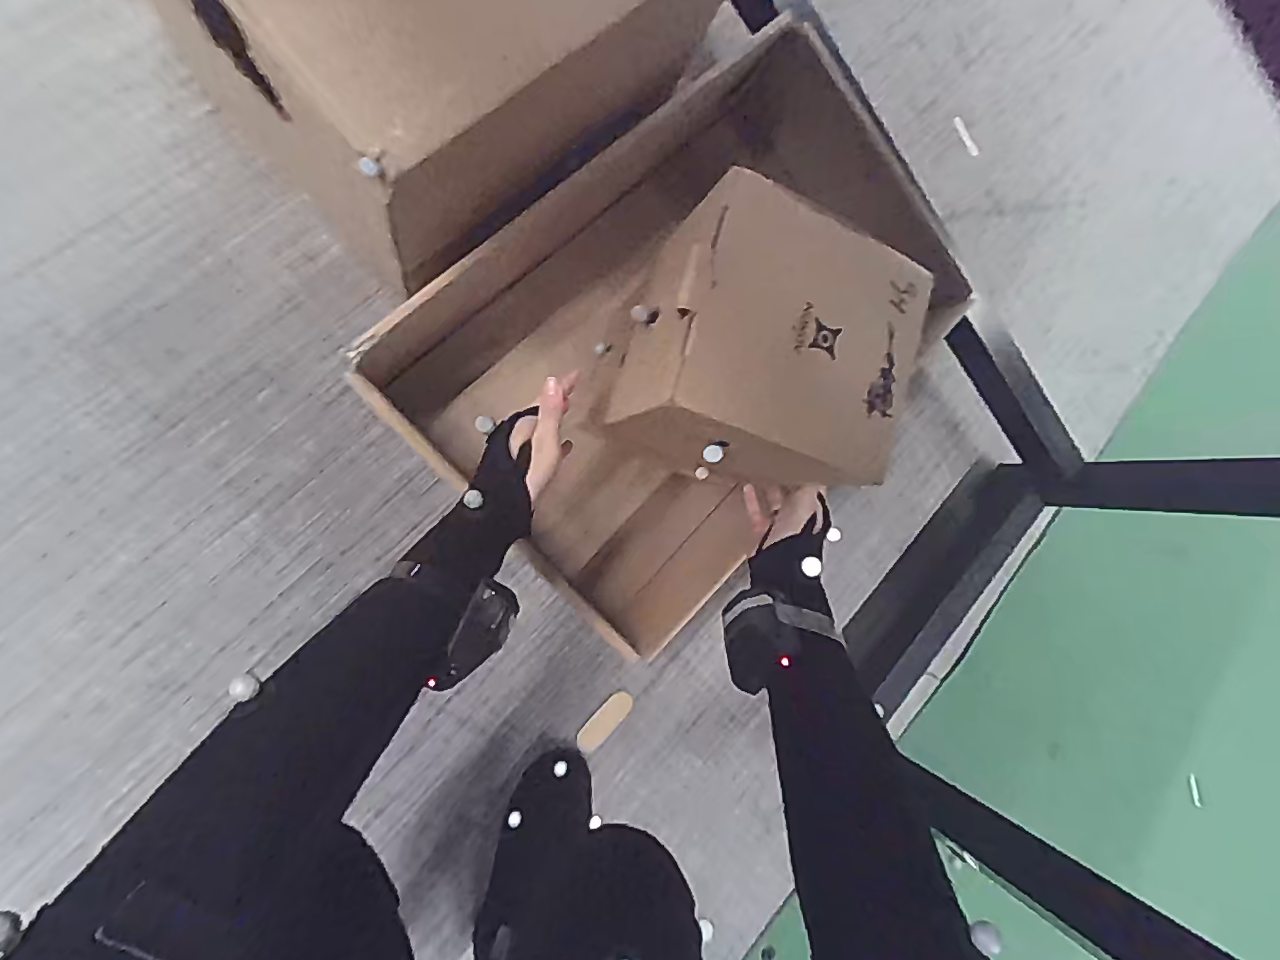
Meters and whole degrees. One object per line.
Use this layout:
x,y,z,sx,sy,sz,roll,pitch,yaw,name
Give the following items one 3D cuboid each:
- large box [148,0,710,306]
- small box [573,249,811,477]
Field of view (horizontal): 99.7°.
-0.177,-0.441,0.507,0.408,0.320,0.320,-45,103,-12,large box
0.047,-0.112,0.597,0.179,0.176,0.168,24,82,-17,small box
